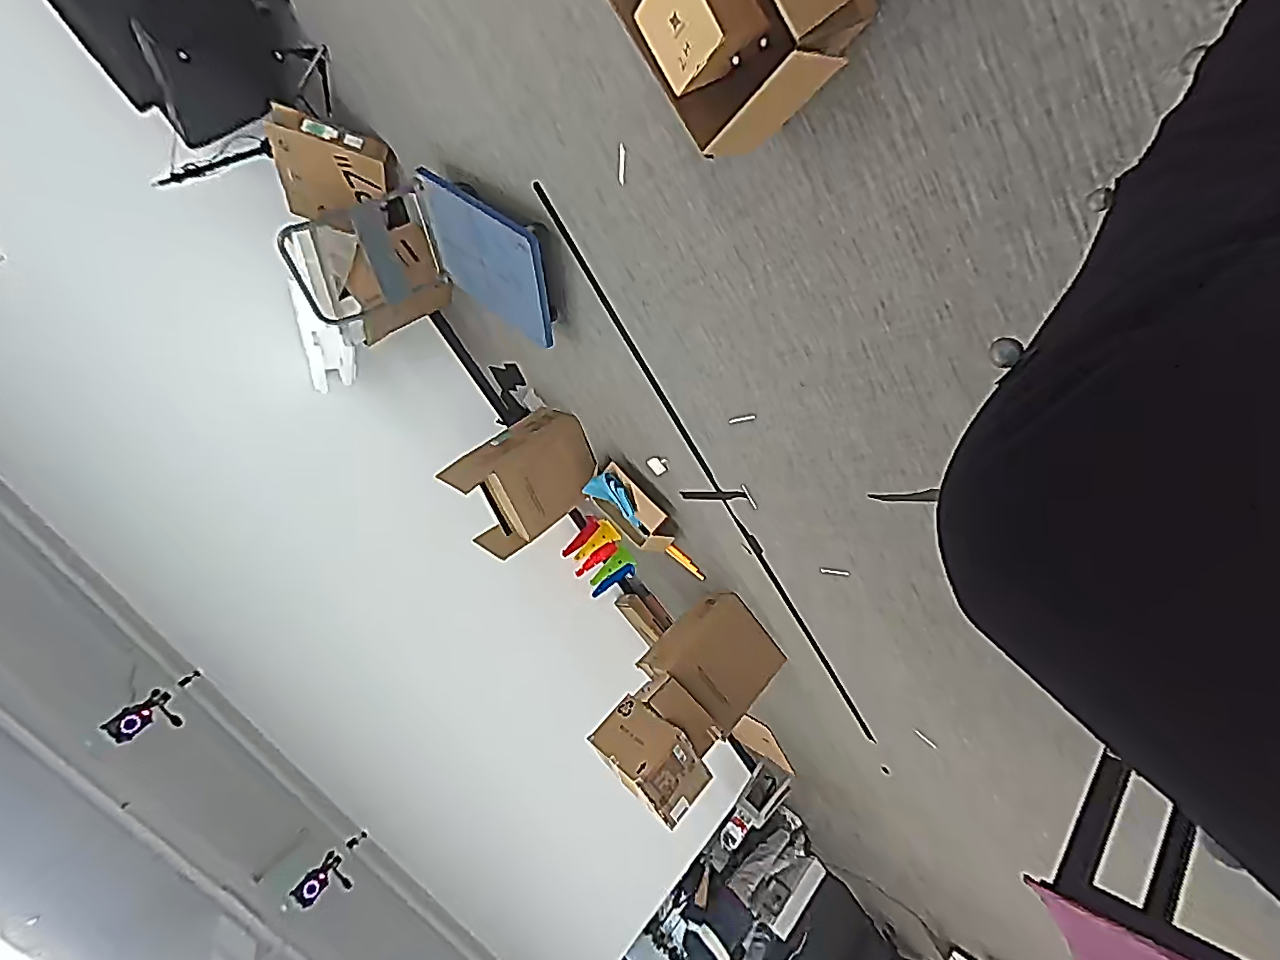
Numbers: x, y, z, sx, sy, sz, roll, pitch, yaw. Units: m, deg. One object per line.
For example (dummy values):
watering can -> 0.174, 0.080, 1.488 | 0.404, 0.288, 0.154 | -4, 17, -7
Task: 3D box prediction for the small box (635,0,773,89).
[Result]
small box -> 0.129, -0.943, 1.083 | 0.179, 0.176, 0.168 | 56, 155, -14
